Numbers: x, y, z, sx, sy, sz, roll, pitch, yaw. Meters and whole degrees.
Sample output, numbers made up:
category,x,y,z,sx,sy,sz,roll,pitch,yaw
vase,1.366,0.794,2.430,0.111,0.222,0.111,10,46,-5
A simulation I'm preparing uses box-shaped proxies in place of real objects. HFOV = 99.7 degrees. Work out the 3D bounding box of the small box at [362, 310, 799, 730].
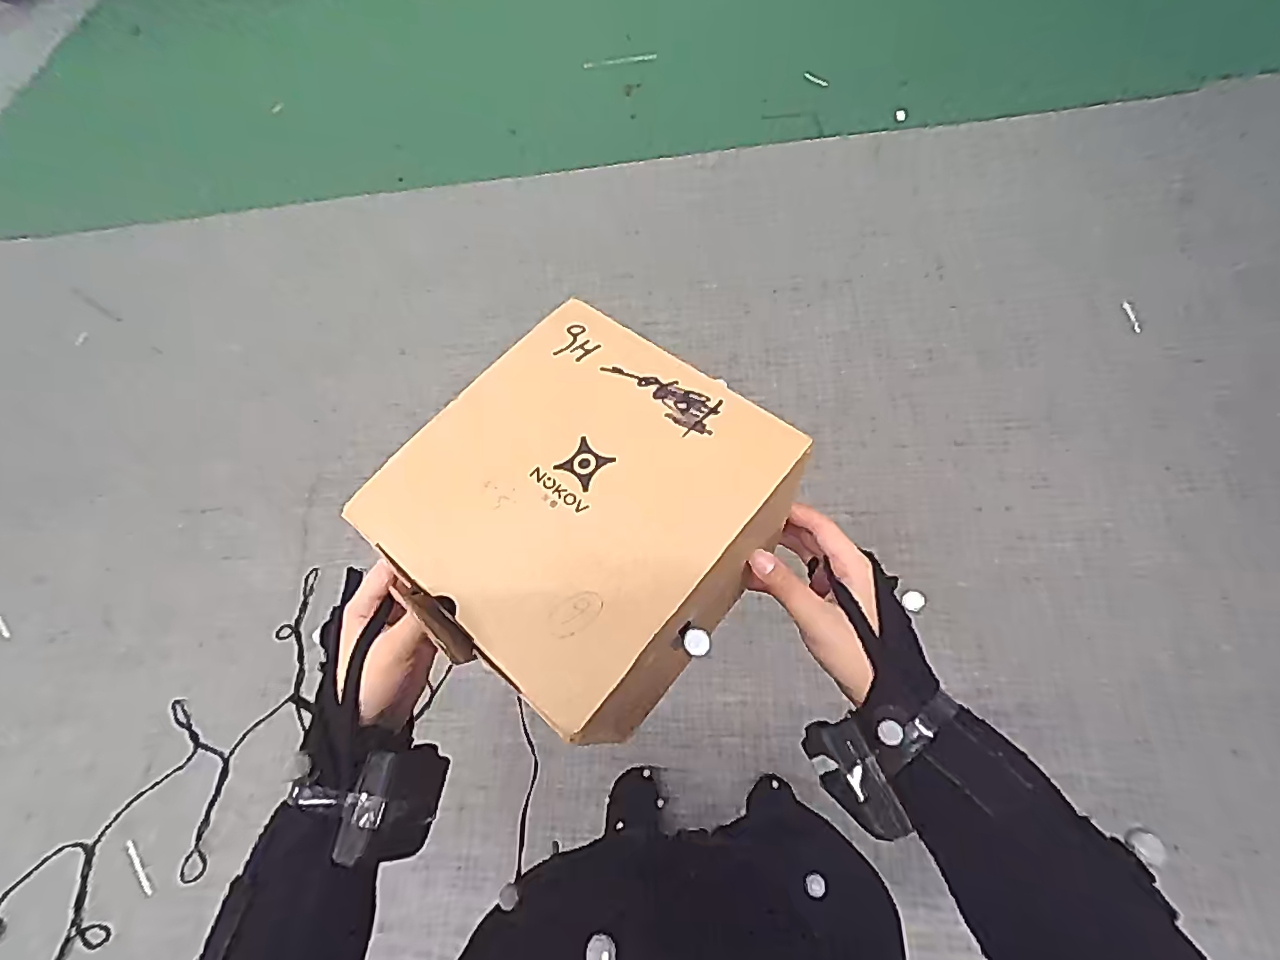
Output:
category,x,y,z,sx,sy,sz,roll,pitch,yaw
small box,-0.023,0.036,0.348,0.168,0.176,0.179,35,74,21
